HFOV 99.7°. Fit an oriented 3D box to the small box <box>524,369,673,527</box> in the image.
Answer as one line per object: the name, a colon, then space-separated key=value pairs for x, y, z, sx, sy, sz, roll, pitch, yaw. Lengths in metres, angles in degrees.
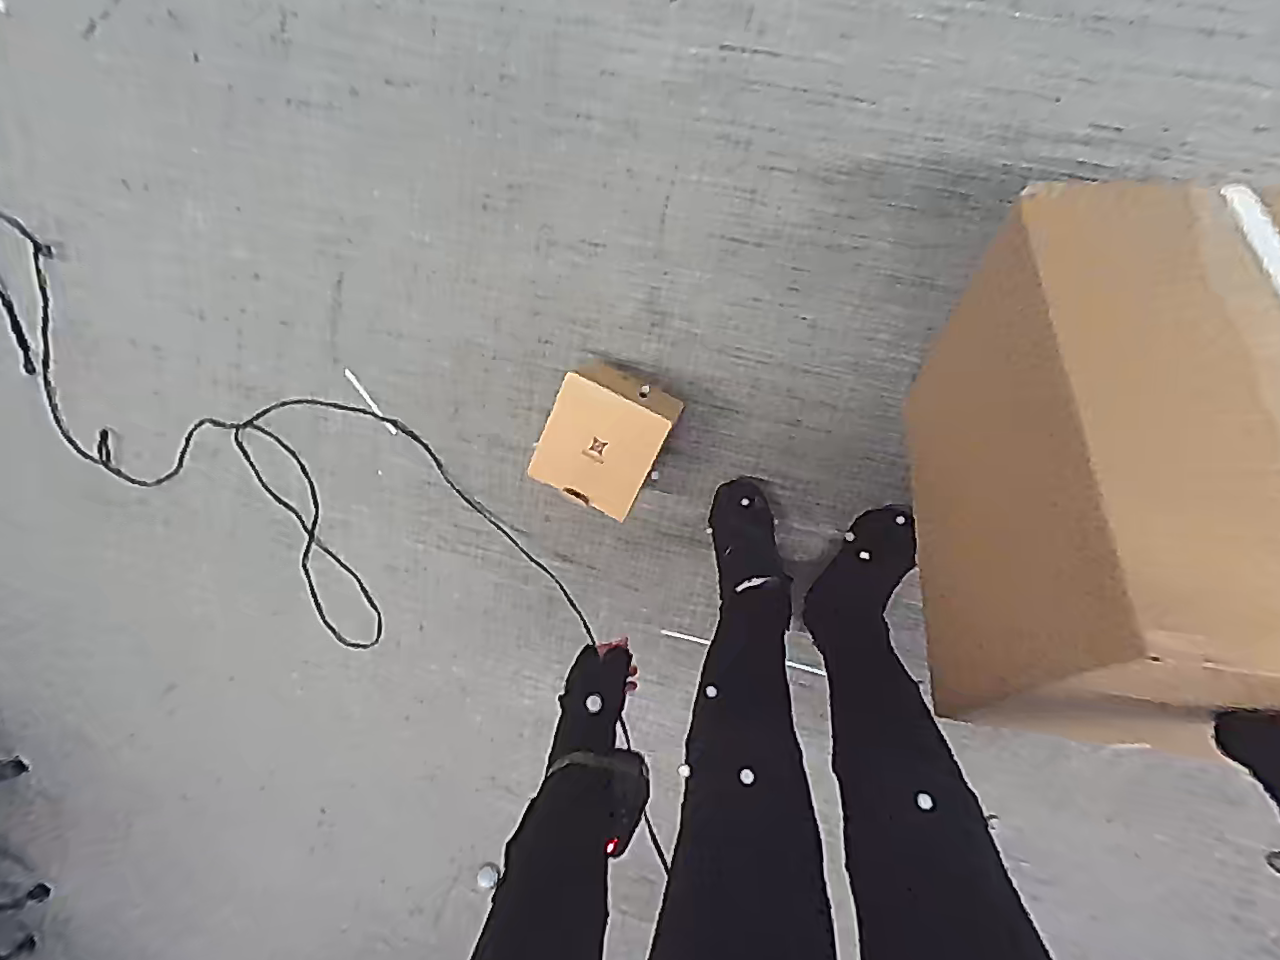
small box: x=-0.056 y=-0.061 z=0.858 sx=0.168 sy=0.176 sz=0.179 roll=26 pitch=112 yaw=0
